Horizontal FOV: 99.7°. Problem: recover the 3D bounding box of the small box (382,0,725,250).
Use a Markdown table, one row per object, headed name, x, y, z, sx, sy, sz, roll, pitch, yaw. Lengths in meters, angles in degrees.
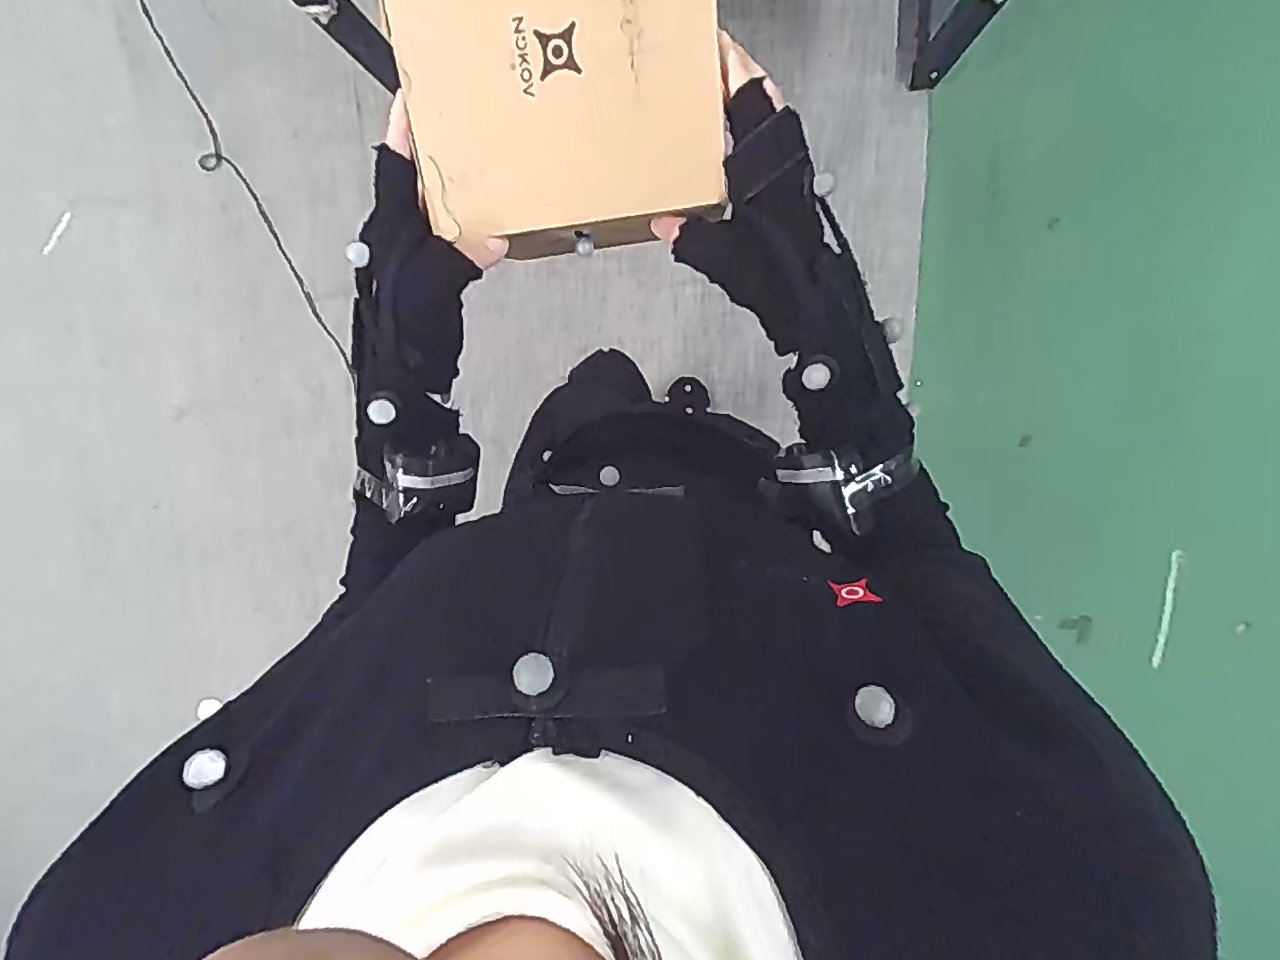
| name | x | y | z | sx | sy | sz | roll | pitch | yaw |
| --- | --- | --- | --- | --- | --- | --- | --- | --- | --- |
| small box | -0.039 | -0.255 | 0.360 | 0.179 | 0.176 | 0.168 | -5 | 109 | 7 |
